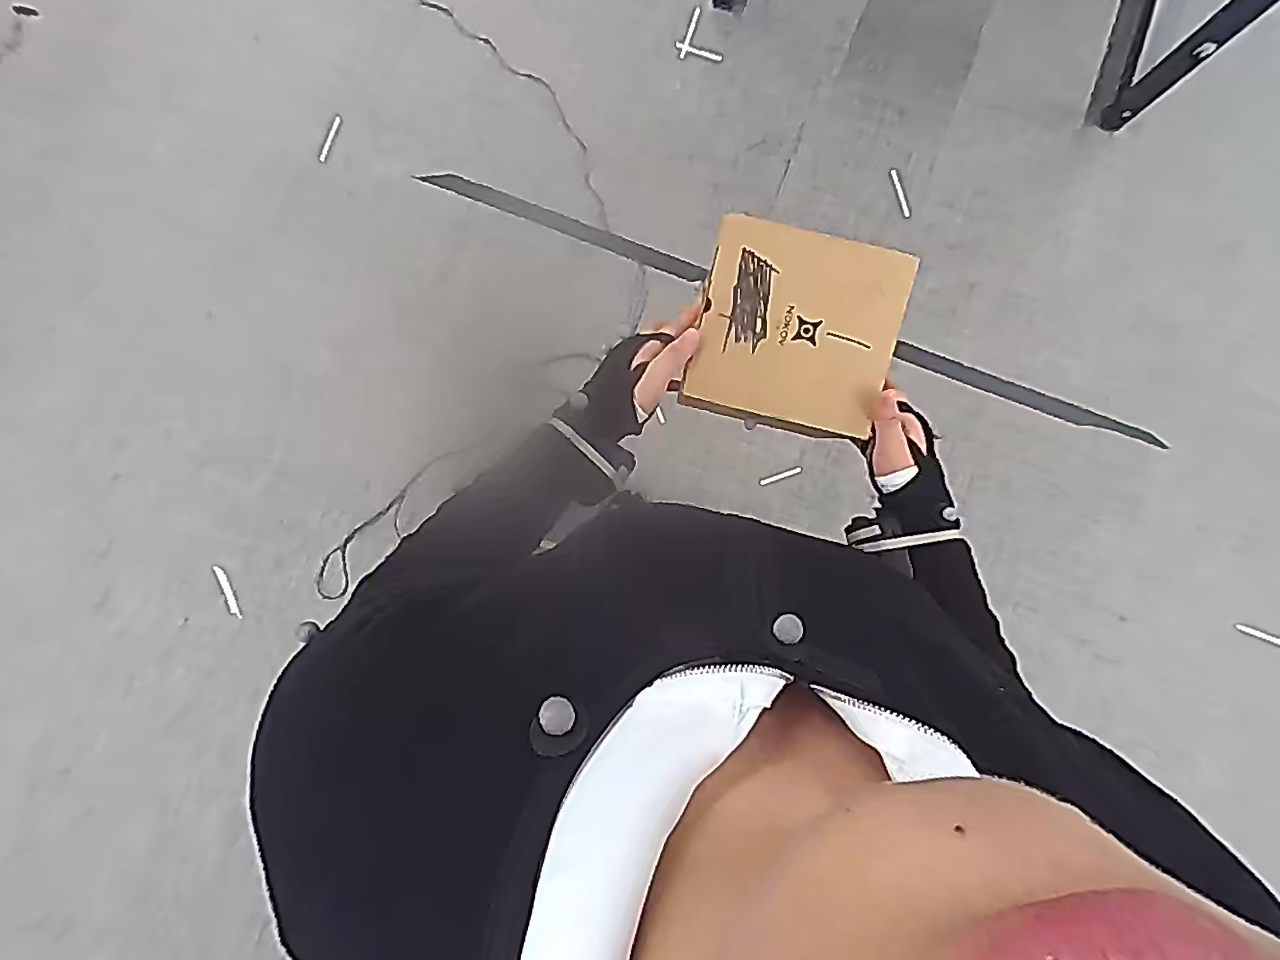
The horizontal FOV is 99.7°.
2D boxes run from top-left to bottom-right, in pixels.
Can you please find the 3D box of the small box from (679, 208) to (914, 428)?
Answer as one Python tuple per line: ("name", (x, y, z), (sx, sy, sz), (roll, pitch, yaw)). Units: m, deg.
("small box", (0.143, -0.151, 0.565), (0.179, 0.176, 0.168), (14, 96, 1))
